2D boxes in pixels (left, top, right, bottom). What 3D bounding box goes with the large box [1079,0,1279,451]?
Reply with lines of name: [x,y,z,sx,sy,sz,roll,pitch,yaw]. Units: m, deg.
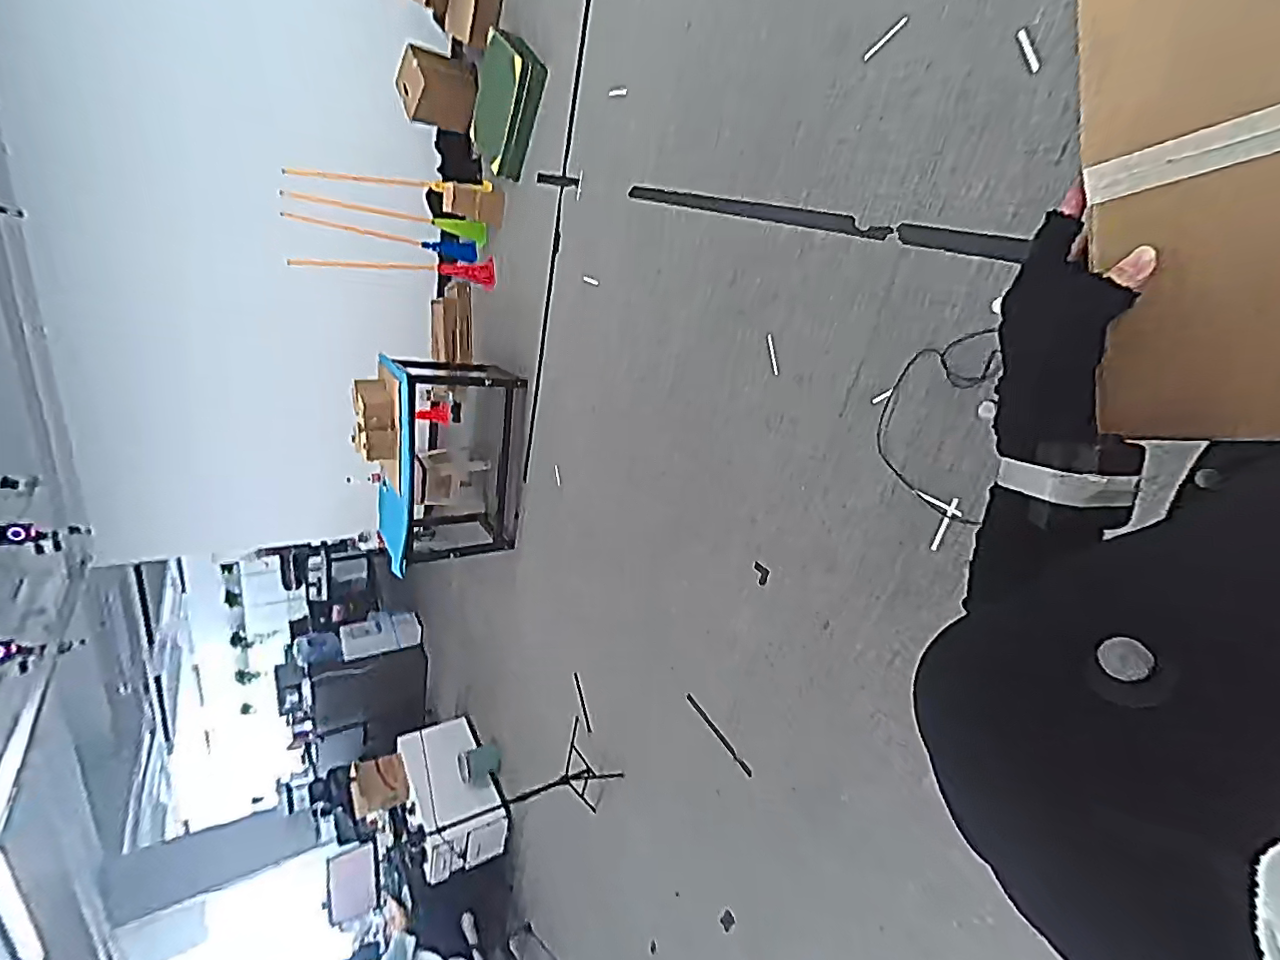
large box: [0.505,-0.201,0.248,0.408,0.320,0.320,6,114,55]
